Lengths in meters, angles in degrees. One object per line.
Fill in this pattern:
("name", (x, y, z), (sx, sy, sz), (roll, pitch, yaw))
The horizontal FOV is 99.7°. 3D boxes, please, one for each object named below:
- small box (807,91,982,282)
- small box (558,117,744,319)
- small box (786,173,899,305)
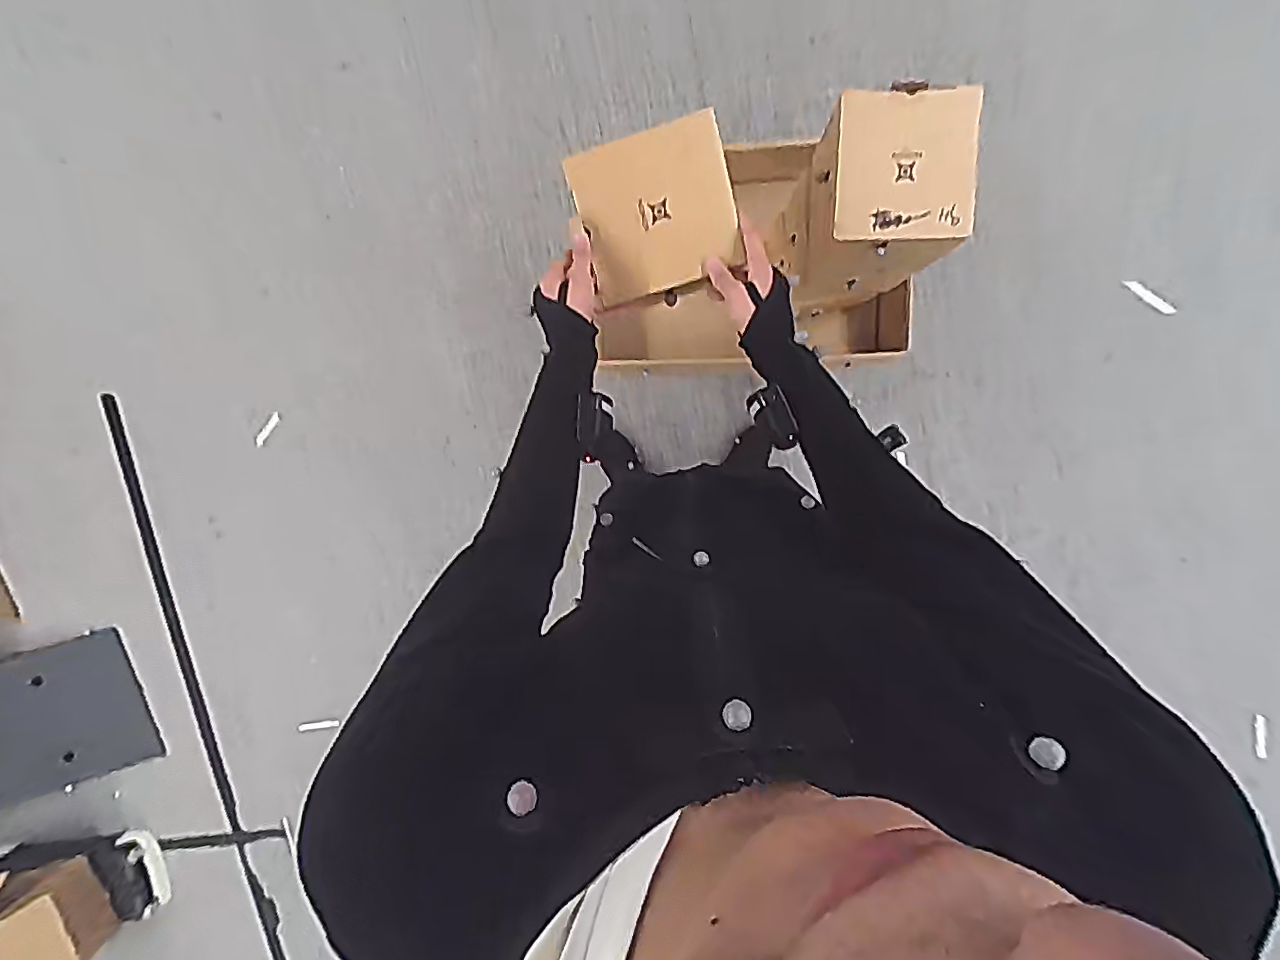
("small box", (0.326, -0.380, 0.727), (0.168, 0.176, 0.179), (2, 96, 6))
("small box", (0.020, -0.307, 0.675), (0.179, 0.176, 0.168), (-14, 102, 9))
("small box", (0.340, -0.394, 0.890), (0.179, 0.176, 0.168), (-4, 96, 6))
